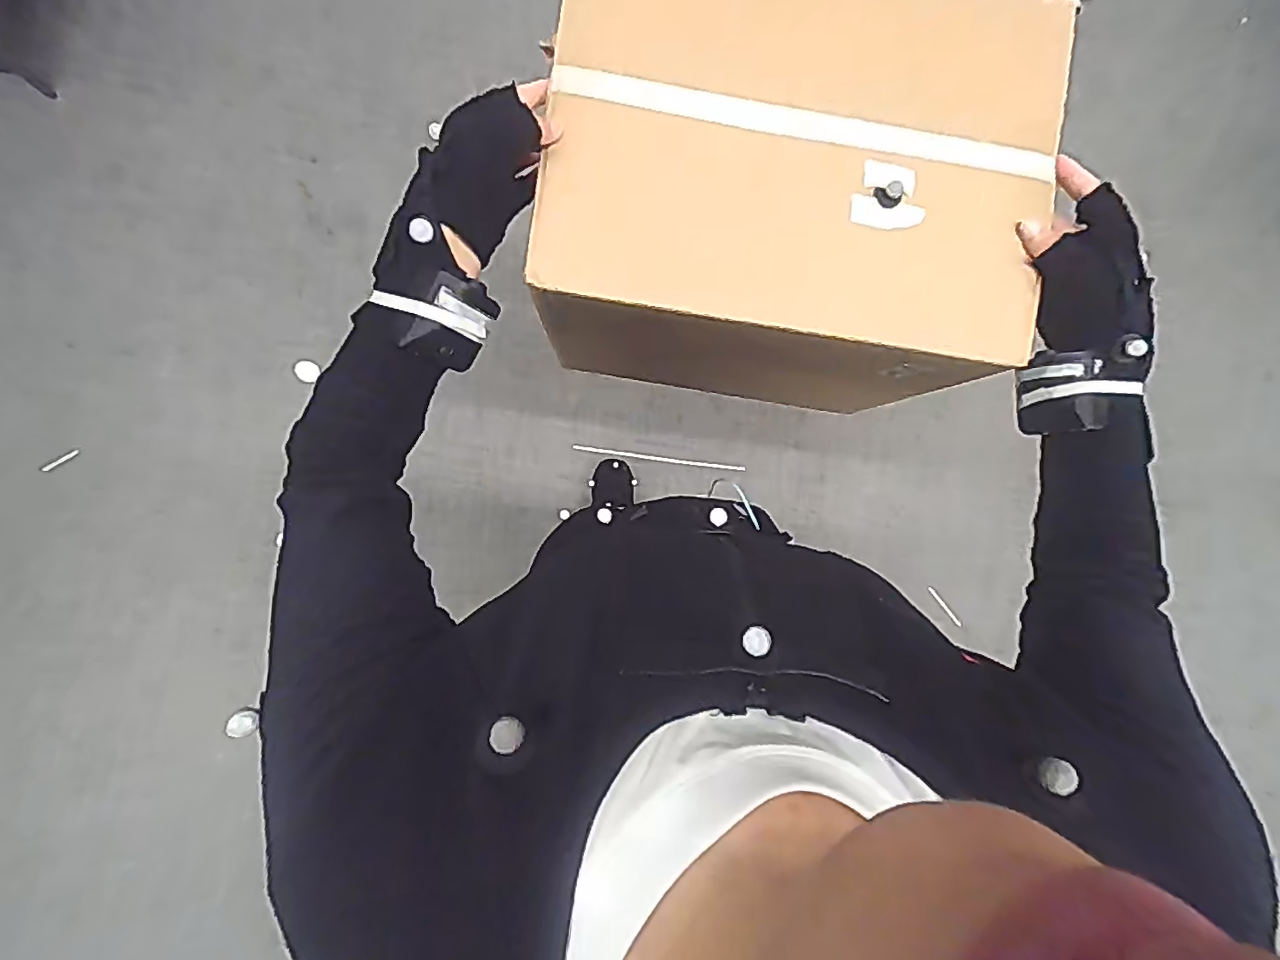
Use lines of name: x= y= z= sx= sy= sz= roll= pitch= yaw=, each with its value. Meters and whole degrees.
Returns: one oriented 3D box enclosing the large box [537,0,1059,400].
large box: x=0.122 y=-0.282 z=0.581 sx=0.408 sy=0.320 sz=0.320 roll=8 pitch=90 yaw=-3
